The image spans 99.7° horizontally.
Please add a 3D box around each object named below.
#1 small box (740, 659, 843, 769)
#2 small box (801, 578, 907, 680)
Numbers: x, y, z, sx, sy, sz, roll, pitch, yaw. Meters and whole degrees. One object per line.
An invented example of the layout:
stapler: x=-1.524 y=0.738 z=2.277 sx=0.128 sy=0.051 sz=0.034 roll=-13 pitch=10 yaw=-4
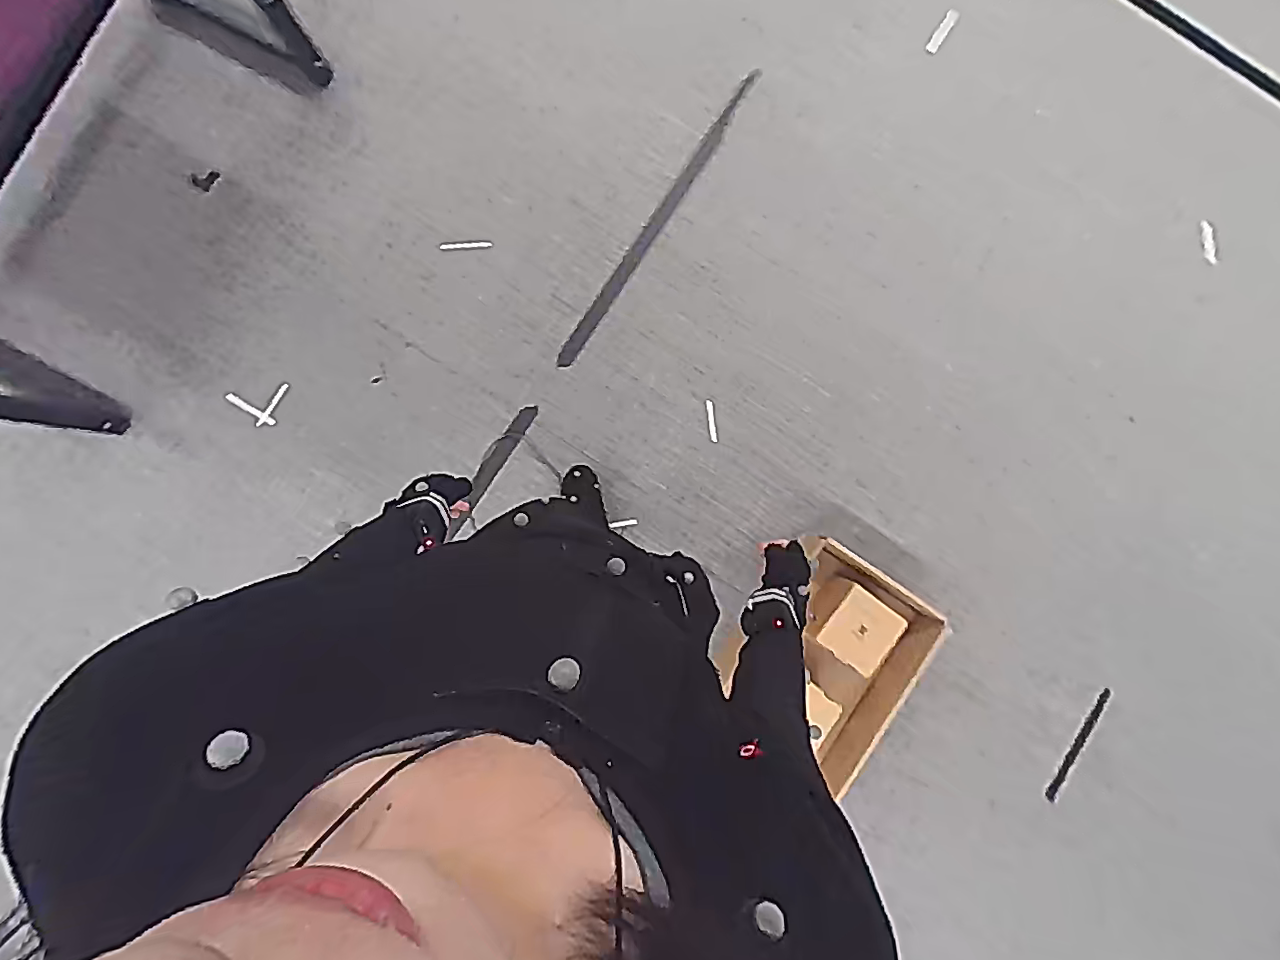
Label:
small box: x=0.382 y=0.594 z=1.399 sx=0.168 sy=0.176 sz=0.179 roll=36 pitch=84 yaw=1
small box: x=0.544 y=0.380 z=1.411 sx=0.168 sy=0.176 sz=0.179 roll=37 pitch=87 yaw=0
